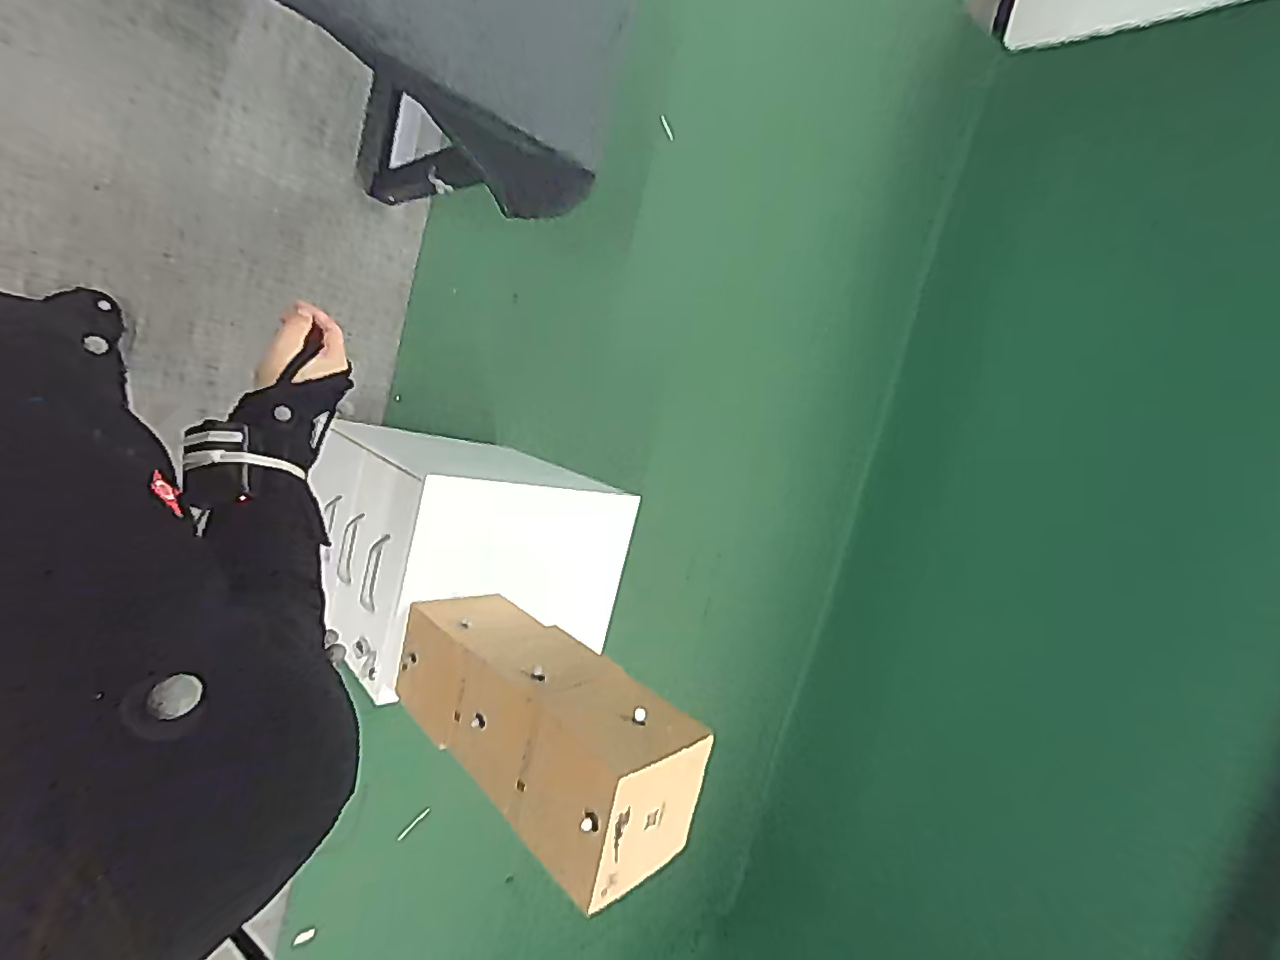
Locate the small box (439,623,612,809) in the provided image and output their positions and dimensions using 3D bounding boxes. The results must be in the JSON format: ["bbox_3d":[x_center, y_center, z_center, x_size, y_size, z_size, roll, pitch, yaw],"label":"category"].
[{"bbox_3d":[-0.172,0.330,0.797,0.179,0.176,0.168,3,102,-48],"label":"small box"}]

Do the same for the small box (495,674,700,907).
[{"bbox_3d":[-0.054,0.371,0.691,0.179,0.176,0.168,6,99,-50],"label":"small box"}]
